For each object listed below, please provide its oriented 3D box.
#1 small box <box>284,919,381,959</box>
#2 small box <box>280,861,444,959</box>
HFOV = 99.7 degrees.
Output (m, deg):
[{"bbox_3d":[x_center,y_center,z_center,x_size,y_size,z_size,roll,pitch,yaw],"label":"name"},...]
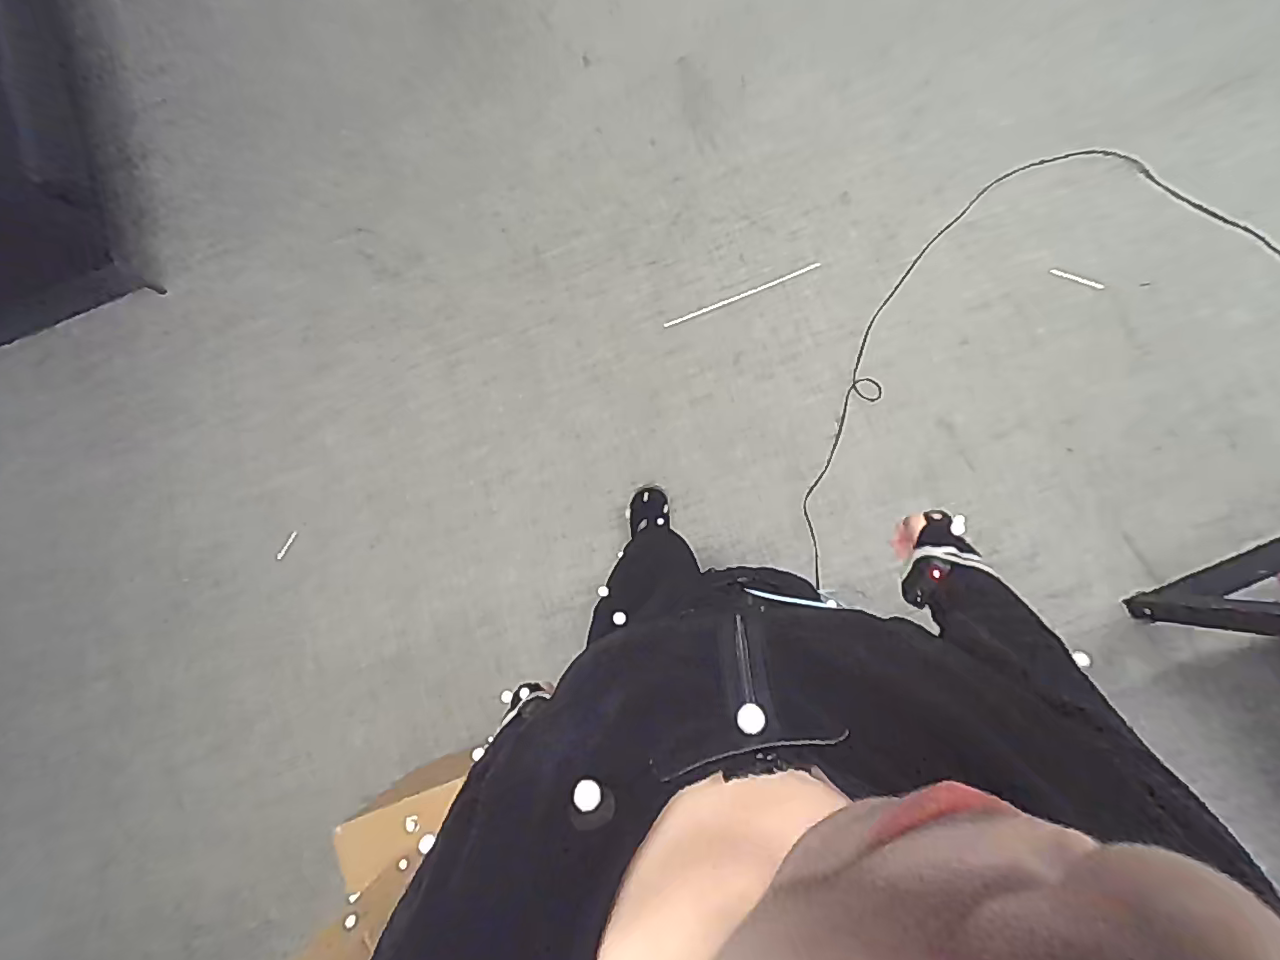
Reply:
[{"bbox_3d":[-0.480,0.785,0.759,0.179,0.176,0.168,-30,81,1],"label":"small box"},{"bbox_3d":[-0.461,0.805,0.923,0.179,0.176,0.168,-30,81,1],"label":"small box"}]
